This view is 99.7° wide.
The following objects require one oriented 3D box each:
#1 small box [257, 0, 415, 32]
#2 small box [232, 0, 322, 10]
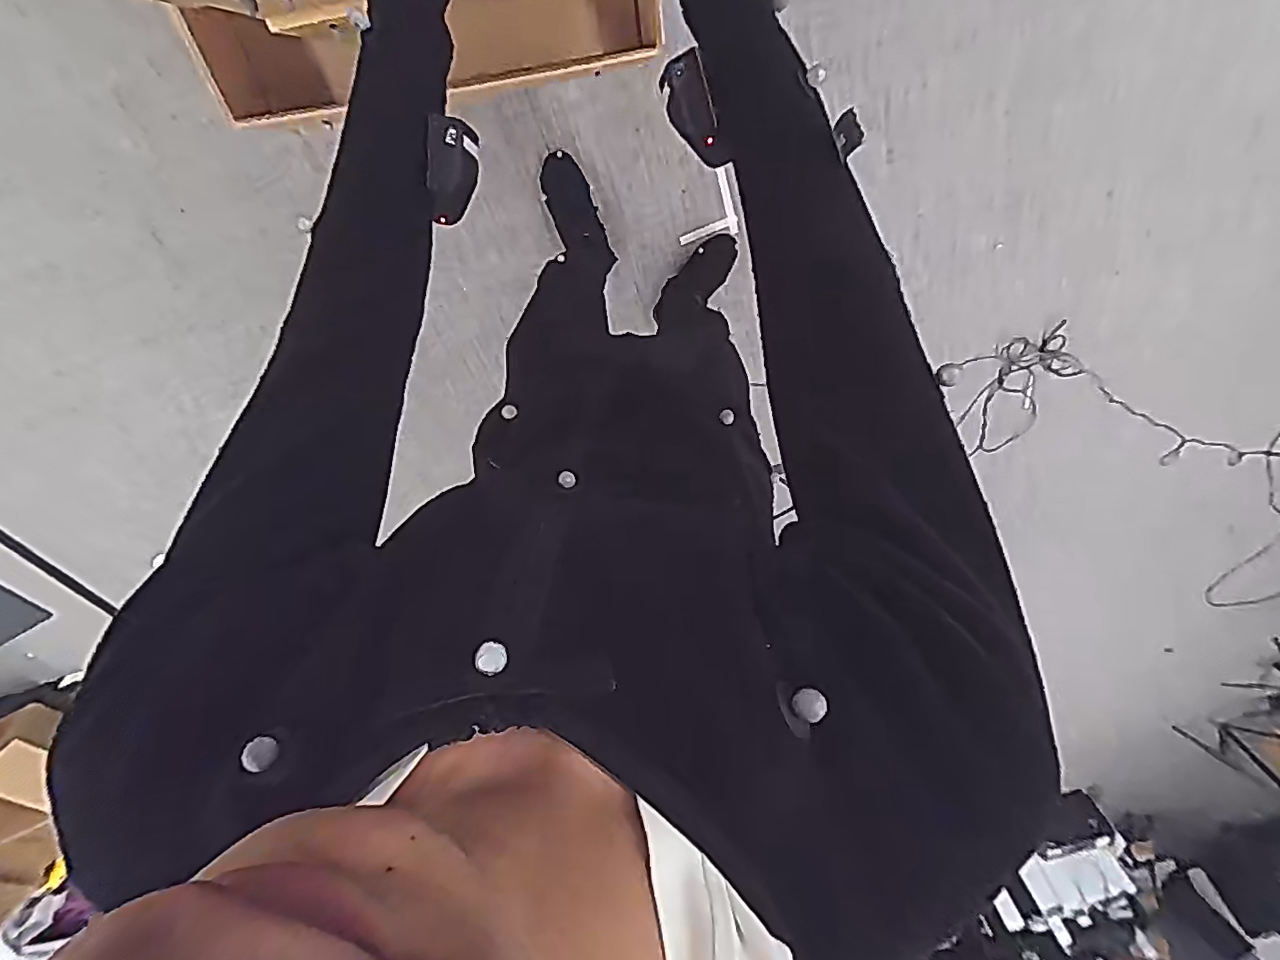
[{"bbox_3d":[-0.405,-0.687,0.677,0.168,0.176,0.179,-13,126,-1],"label":"small box"},{"bbox_3d":[-0.380,-0.598,0.541,0.179,0.176,0.168,-12,127,-2],"label":"small box"}]
